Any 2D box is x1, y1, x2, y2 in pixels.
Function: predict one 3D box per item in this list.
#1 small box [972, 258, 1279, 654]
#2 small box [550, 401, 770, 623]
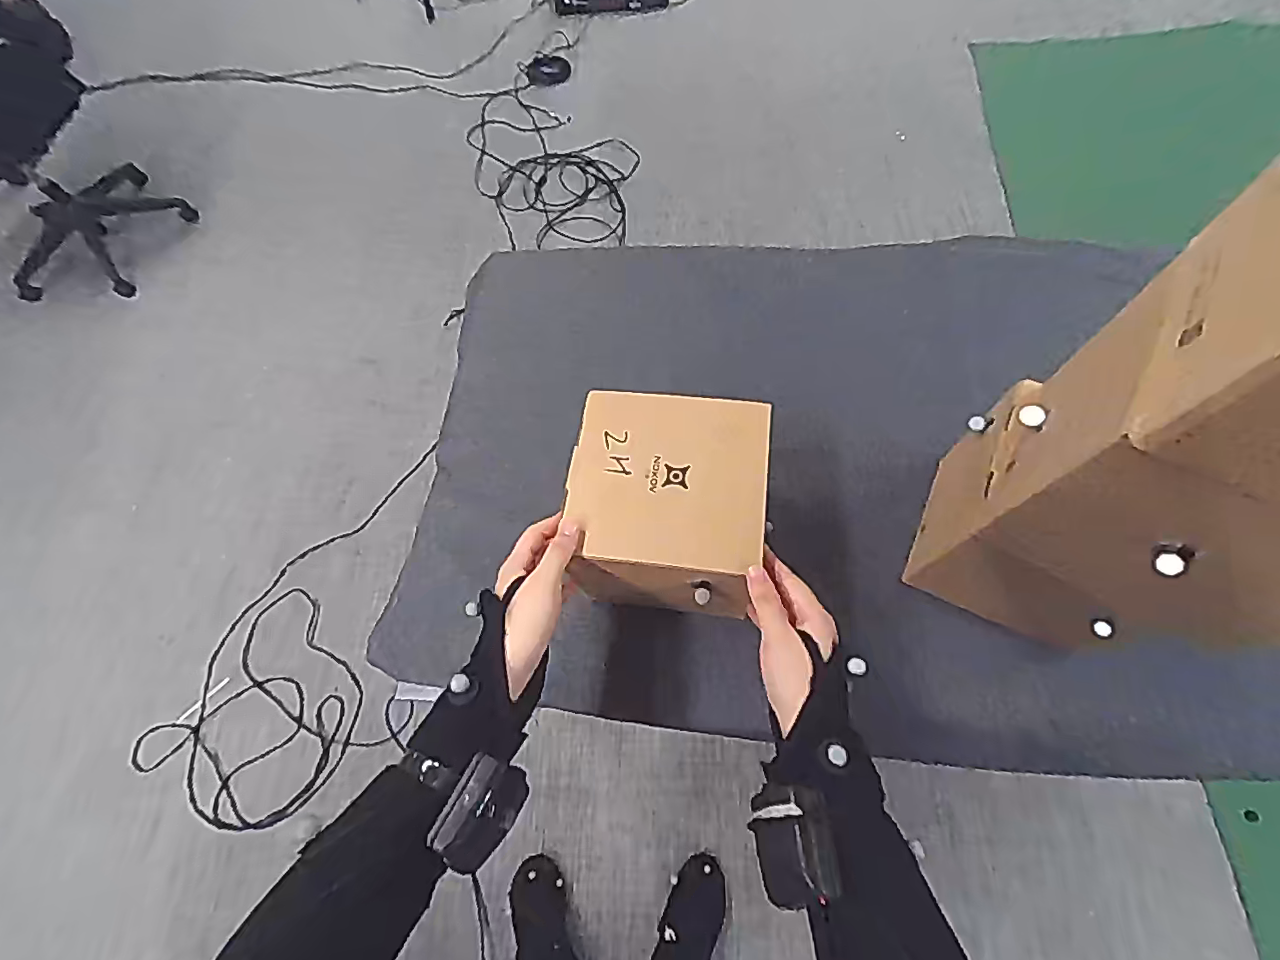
[{"bbox_3d":[0.371,-0.002,0.360,0.179,0.176,0.168,31,71,18],"label":"small box"},{"bbox_3d":[0.029,0.040,0.543,0.179,0.176,0.168,5,65,9],"label":"small box"}]
